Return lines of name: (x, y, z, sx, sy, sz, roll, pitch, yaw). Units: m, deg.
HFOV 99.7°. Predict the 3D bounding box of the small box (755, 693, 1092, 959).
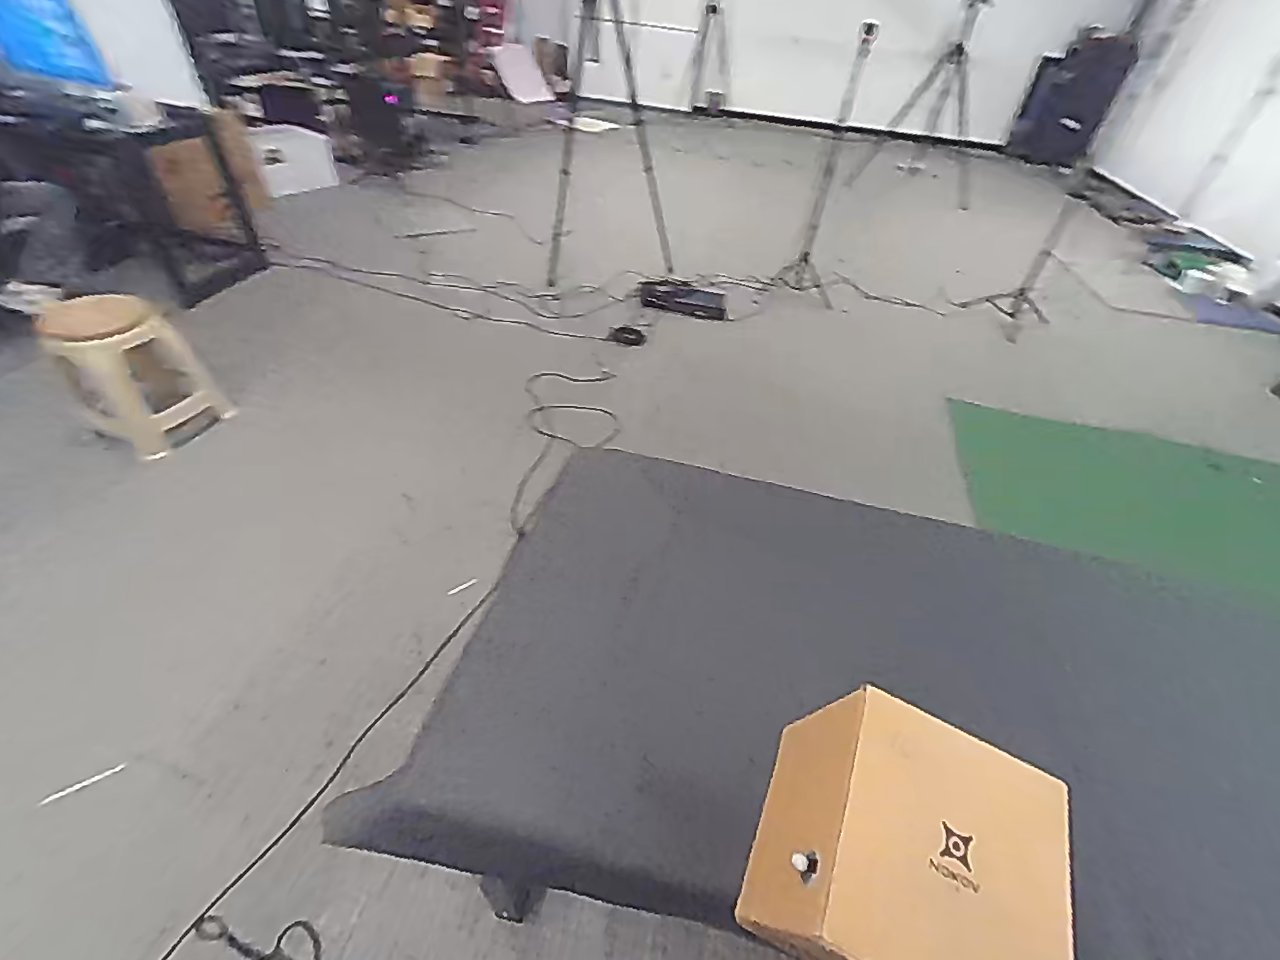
small box: (0.212, 0.307, 0.434, 0.168, 0.176, 0.179, 27, 55, 7)
